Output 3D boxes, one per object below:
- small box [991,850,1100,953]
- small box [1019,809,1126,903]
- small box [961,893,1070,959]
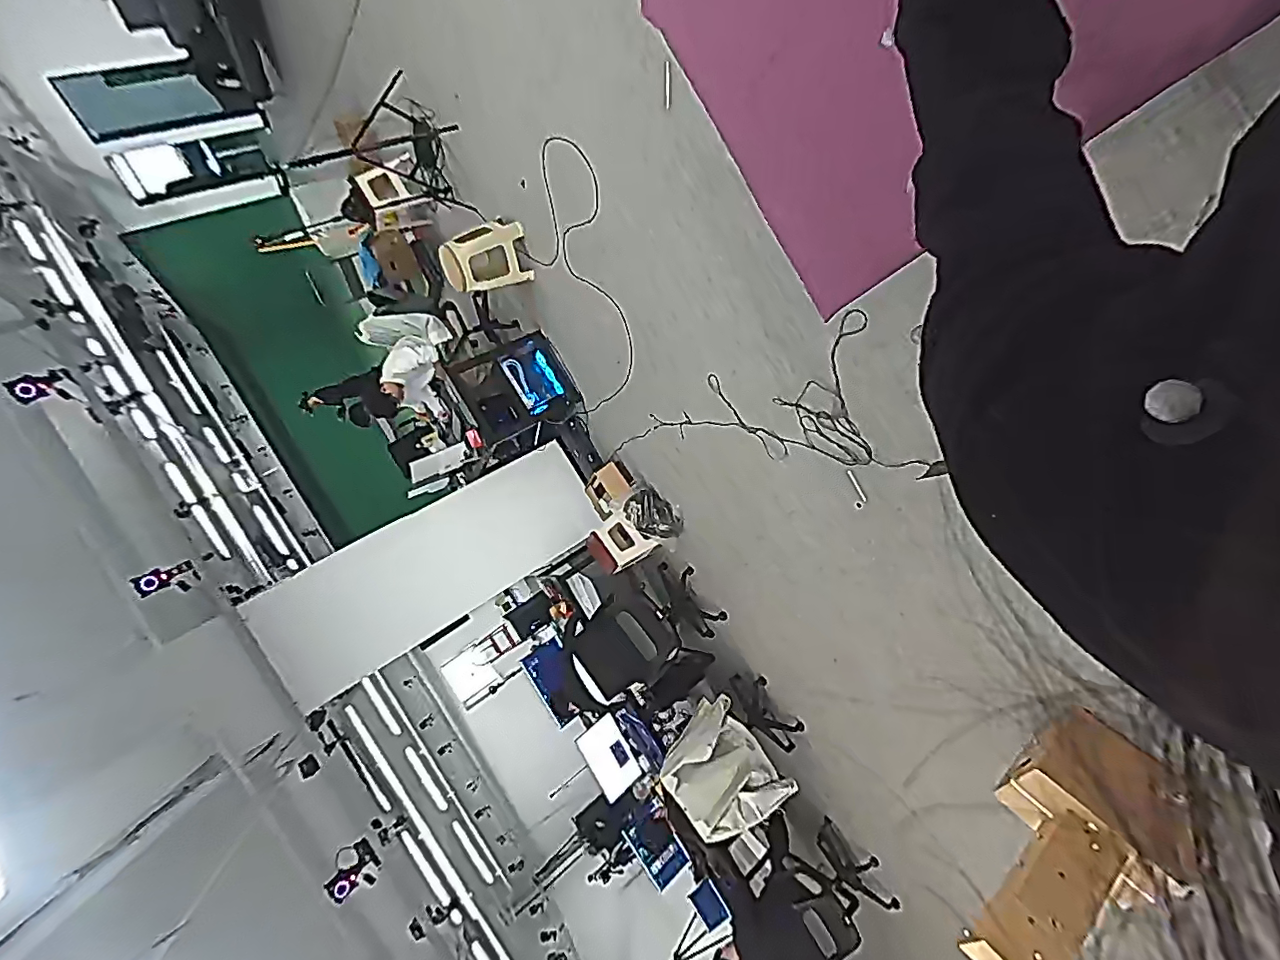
[{"bbox_3d":[1.165,1.210,1.554,0.168,0.176,0.179,41,151,34],"label":"small box"},{"bbox_3d":[1.293,1.130,1.618,0.168,0.176,0.179,41,150,35],"label":"small box"},{"bbox_3d":[1.035,1.284,1.489,0.168,0.176,0.179,41,151,35],"label":"small box"}]
